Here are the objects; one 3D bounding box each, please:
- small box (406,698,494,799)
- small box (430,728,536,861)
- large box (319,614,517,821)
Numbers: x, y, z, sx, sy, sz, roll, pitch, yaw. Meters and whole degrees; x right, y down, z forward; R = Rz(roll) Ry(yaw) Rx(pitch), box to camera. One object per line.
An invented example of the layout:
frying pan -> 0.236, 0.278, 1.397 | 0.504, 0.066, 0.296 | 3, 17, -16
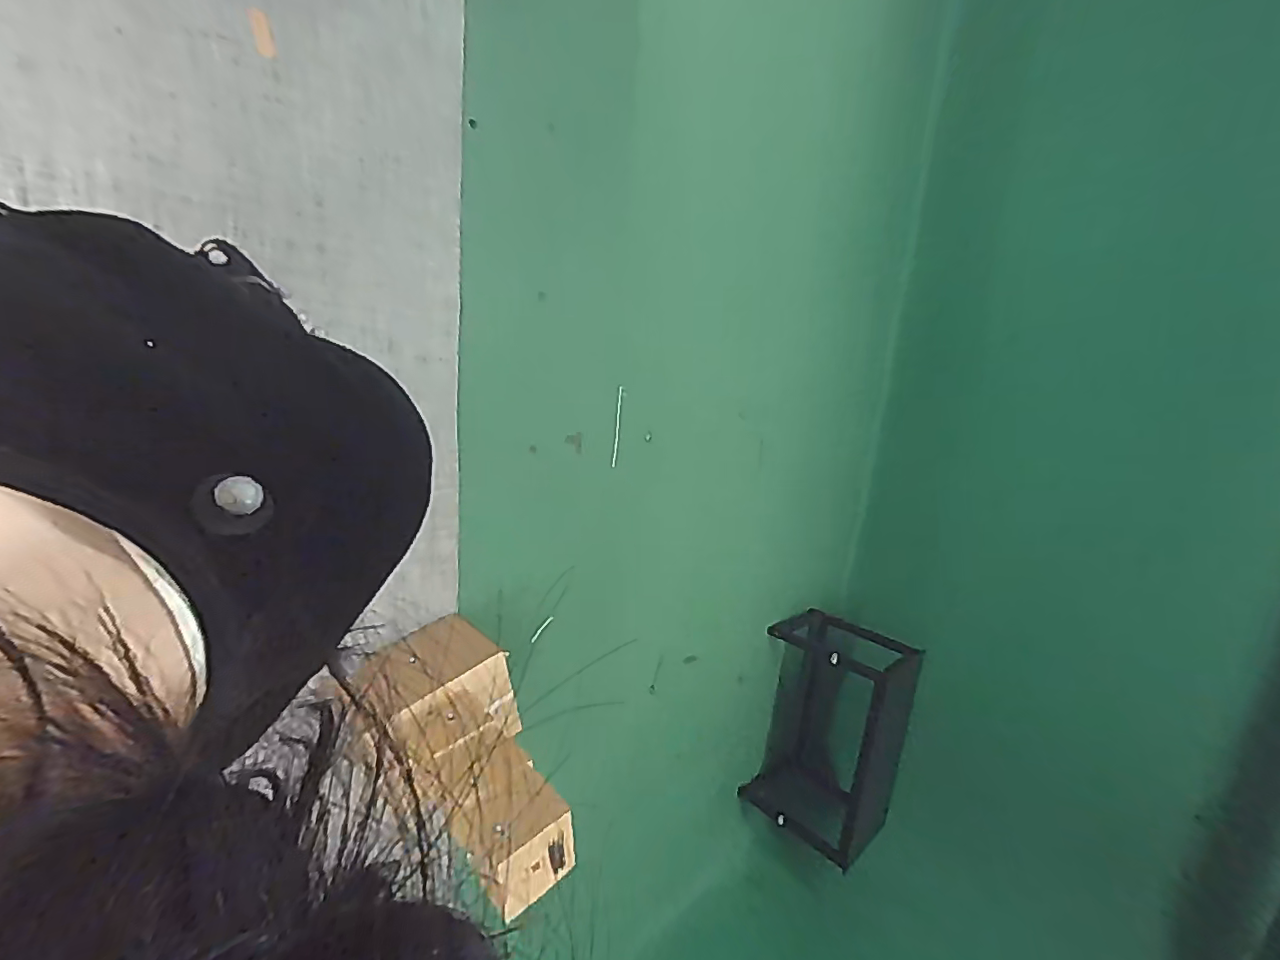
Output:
small box -> -0.482, 0.690, 1.389 | 0.168, 0.176, 0.179 | -18, 114, -42
small box -> -0.370, 0.730, 1.279 | 0.179, 0.176, 0.168 | -17, 113, -42
large box -> -0.636, 0.662, 1.583 | 0.408, 0.320, 0.320 | -26, 121, -41
